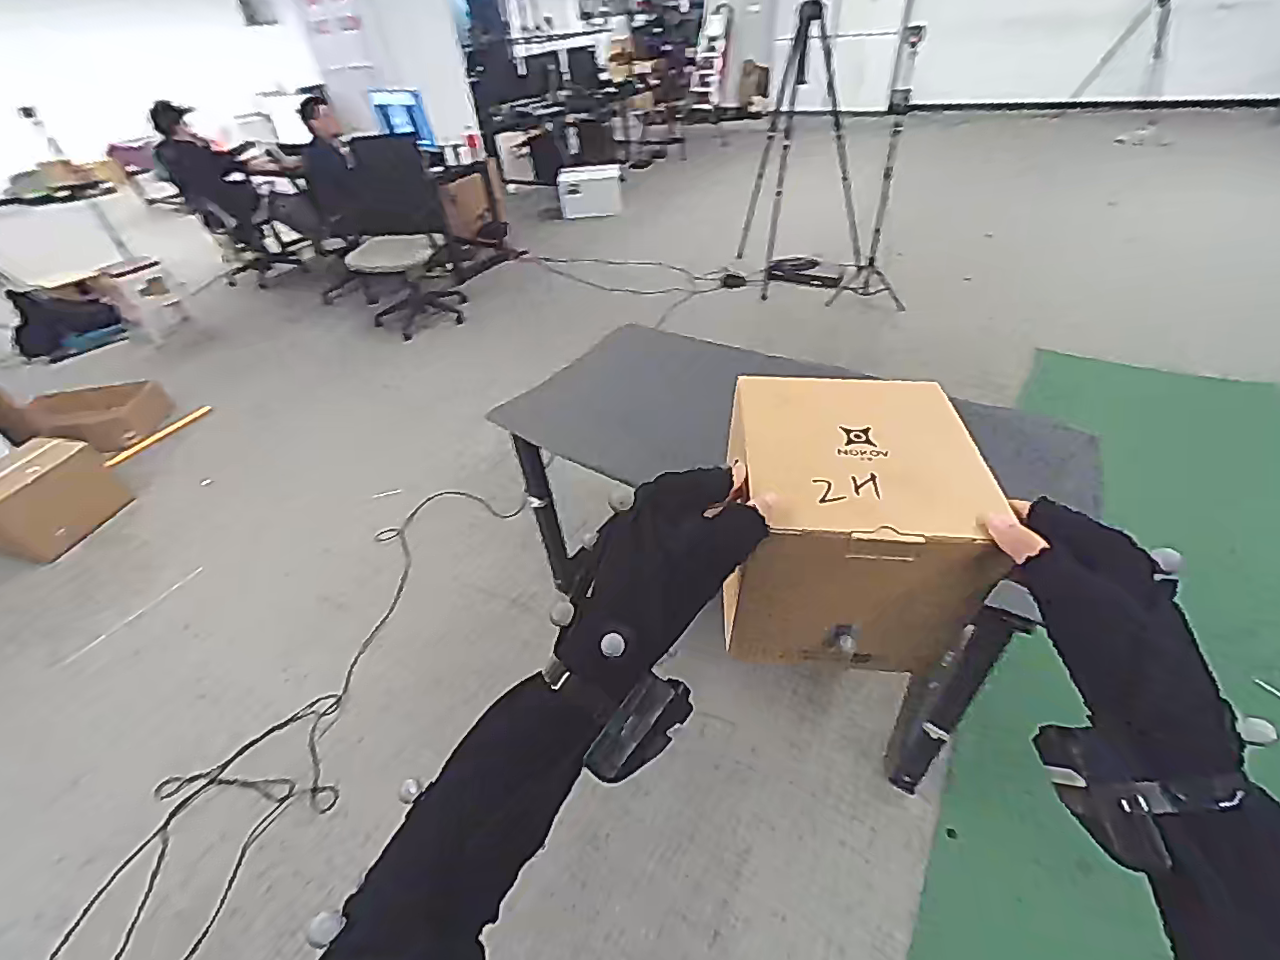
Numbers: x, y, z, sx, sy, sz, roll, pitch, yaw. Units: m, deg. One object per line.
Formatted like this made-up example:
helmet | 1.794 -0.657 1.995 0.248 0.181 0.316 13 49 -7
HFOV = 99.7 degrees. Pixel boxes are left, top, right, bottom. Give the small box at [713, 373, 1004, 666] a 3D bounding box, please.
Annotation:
small box | 0.150 0.030 0.452 0.168 0.176 0.179 2 44 4
